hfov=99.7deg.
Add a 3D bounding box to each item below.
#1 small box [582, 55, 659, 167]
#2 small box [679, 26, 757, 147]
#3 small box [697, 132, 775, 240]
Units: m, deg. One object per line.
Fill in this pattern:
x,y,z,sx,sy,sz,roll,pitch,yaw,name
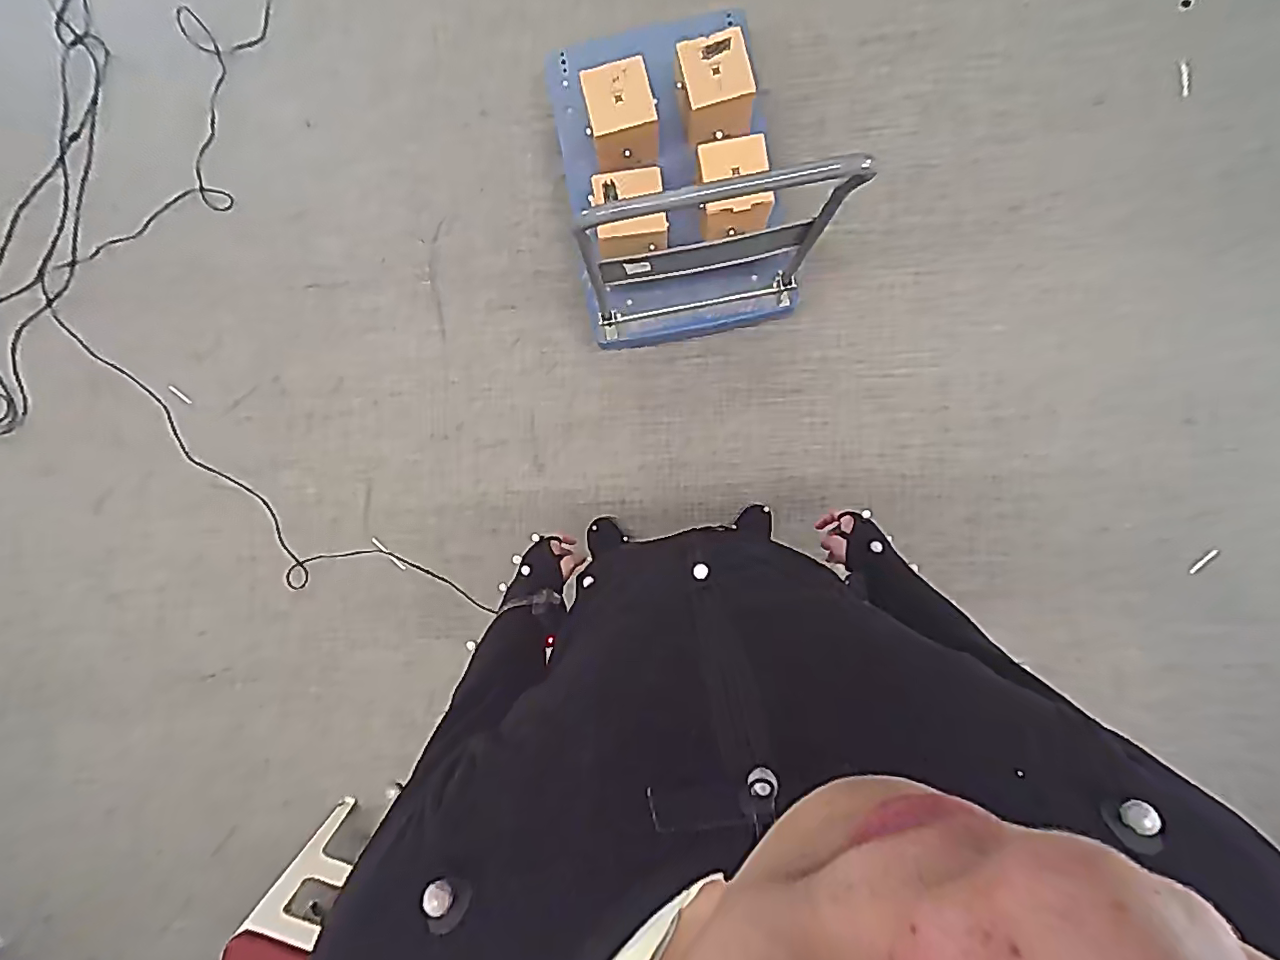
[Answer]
-0.045,-0.970,1.444,0.168,0.176,0.179,-14,87,3,small box
0.198,-1.031,1.428,0.168,0.176,0.179,-13,88,4,small box
0.246,-0.765,1.419,0.168,0.176,0.179,-9,88,3,small box
